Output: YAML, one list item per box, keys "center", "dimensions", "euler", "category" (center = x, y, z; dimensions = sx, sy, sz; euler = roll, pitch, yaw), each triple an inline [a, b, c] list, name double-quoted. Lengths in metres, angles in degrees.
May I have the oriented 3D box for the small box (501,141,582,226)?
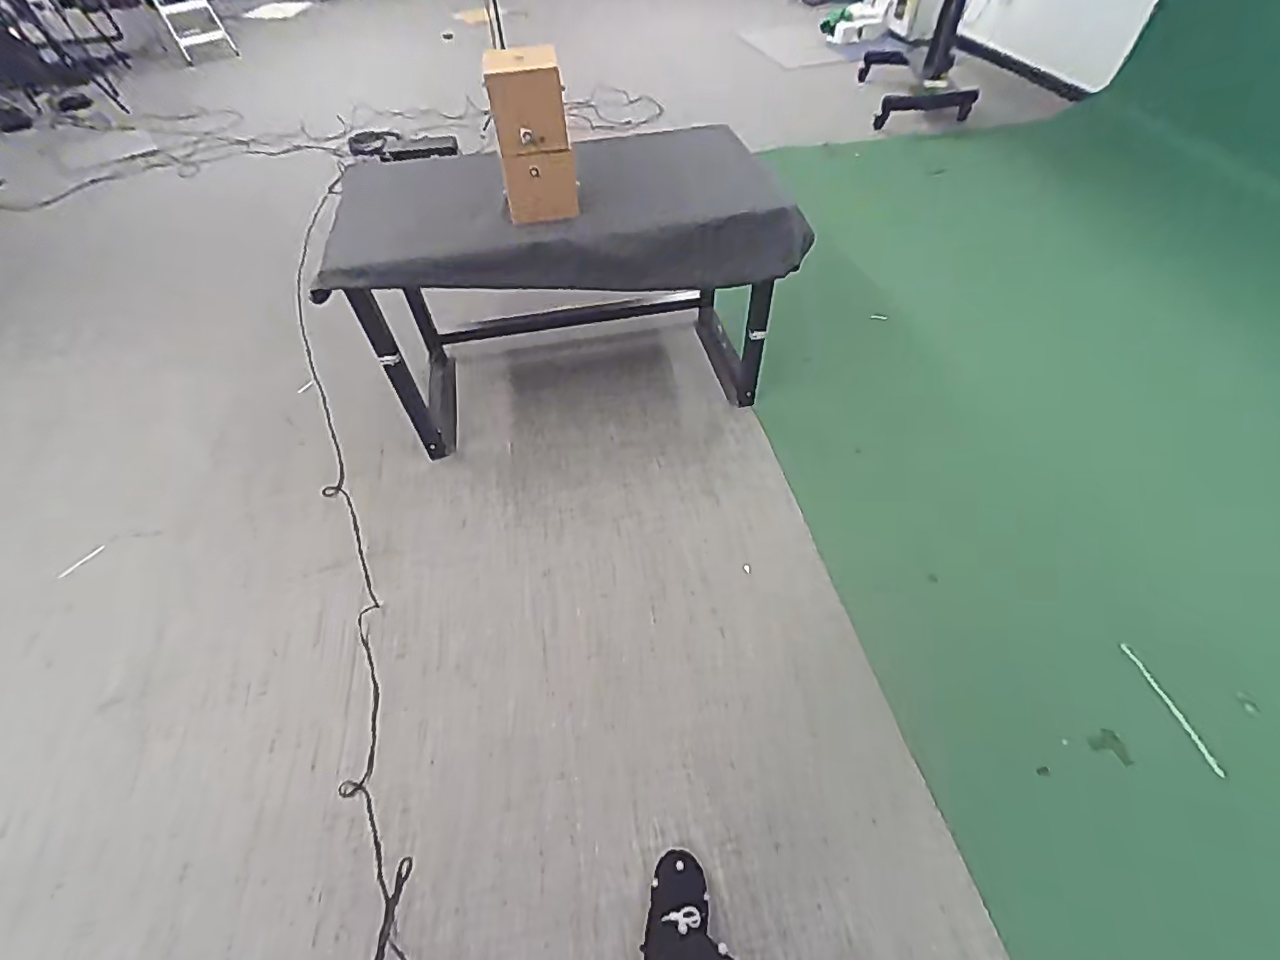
- center: [-0.256, -0.786, 1.415]
  dimensions: [0.179, 0.176, 0.168]
  euler: [-10, 51, -6]
  category: "small box"

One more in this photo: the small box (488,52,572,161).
- center: [-0.261, -0.890, 1.291]
  dimensions: [0.168, 0.176, 0.179]
  euler: [-11, 52, -4]
  category: "small box"
